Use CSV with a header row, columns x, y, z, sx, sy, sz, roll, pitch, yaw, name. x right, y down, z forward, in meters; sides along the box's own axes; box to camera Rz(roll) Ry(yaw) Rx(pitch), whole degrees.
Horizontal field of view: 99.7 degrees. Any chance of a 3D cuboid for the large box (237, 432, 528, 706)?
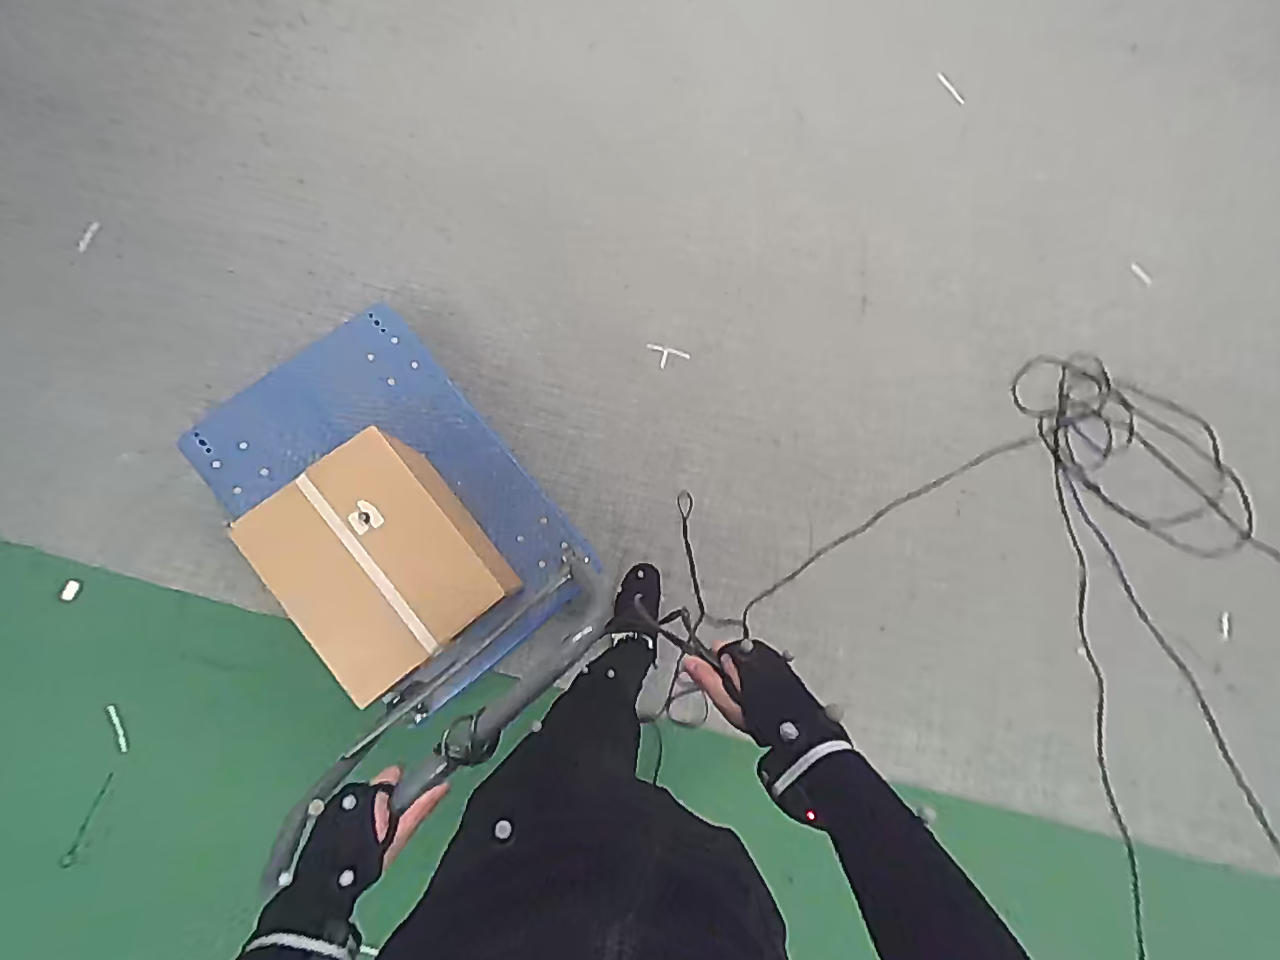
x,y,z,sx,sy,sz,roll,pitch,yaw,name
-0.489,0.175,1.119,0.320,0.320,0.408,-38,86,-10,large box
